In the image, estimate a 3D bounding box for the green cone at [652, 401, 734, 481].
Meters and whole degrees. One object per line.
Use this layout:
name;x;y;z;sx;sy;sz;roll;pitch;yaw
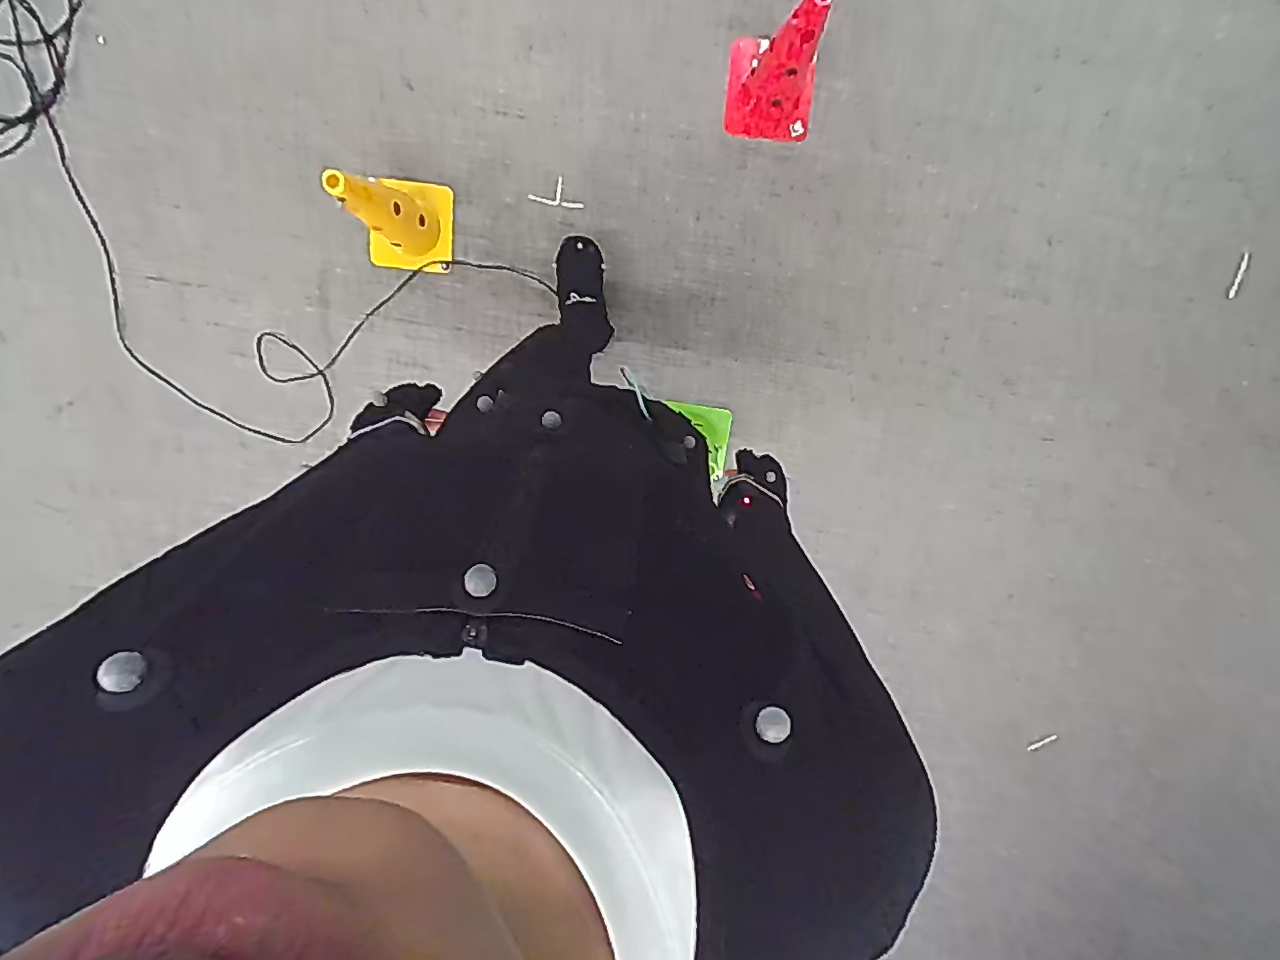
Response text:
green cone;0.140;-0.064;1.284;0.202;0.368;0.200;8;103;-1

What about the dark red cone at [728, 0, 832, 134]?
dark red cone;0.308;-0.867;1.072;0.202;0.394;0.201;4;102;-2
